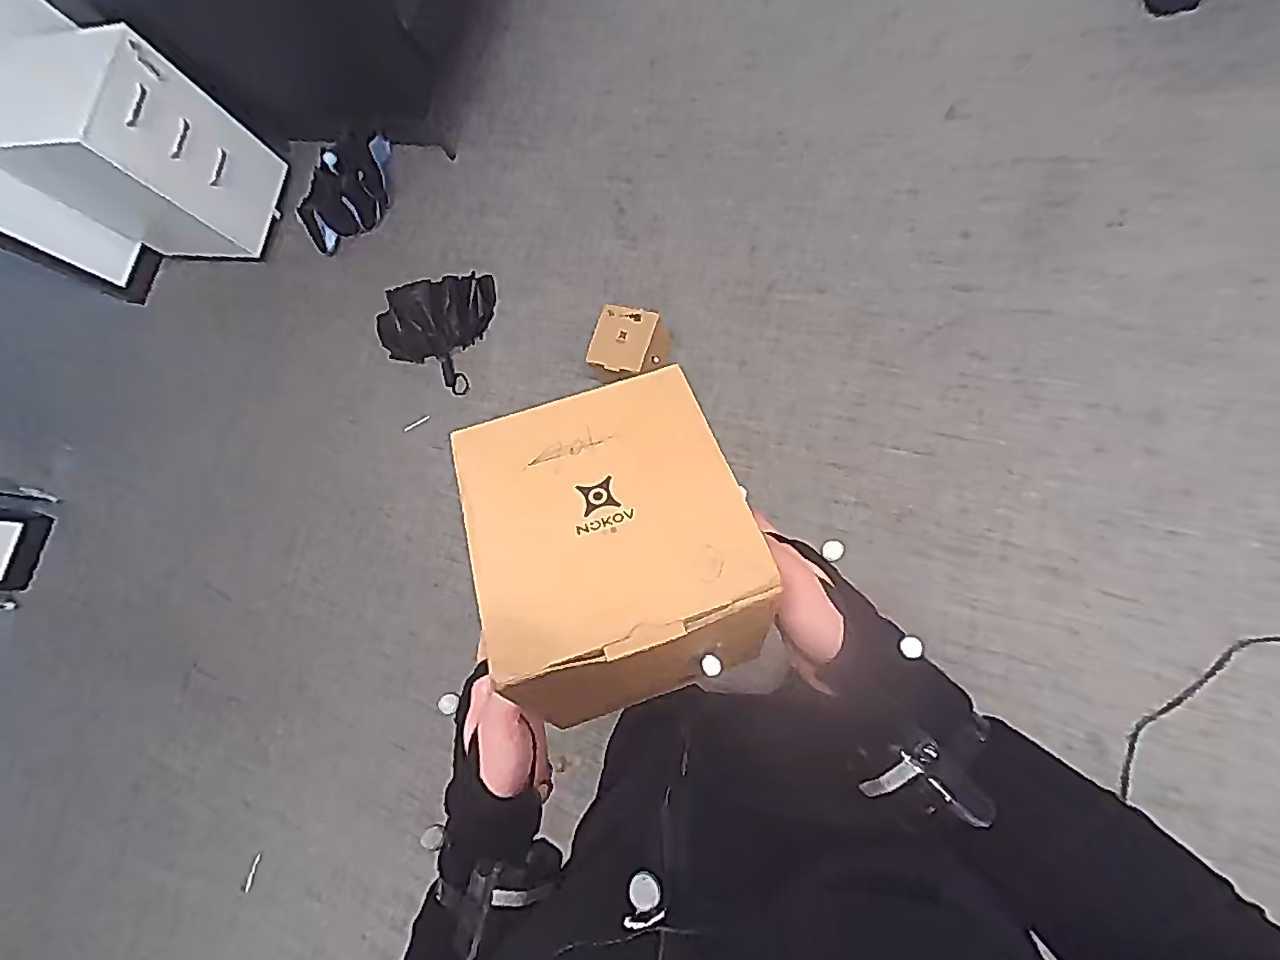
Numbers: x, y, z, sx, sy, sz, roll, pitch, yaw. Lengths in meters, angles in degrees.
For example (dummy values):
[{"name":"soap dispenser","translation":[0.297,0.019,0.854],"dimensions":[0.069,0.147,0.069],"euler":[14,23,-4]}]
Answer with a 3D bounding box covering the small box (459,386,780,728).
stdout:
[{"name":"small box","translation":[-0.015,0.067,0.400],"dimensions":[0.168,0.176,0.179],"euler":[-18,57,-6]}]
